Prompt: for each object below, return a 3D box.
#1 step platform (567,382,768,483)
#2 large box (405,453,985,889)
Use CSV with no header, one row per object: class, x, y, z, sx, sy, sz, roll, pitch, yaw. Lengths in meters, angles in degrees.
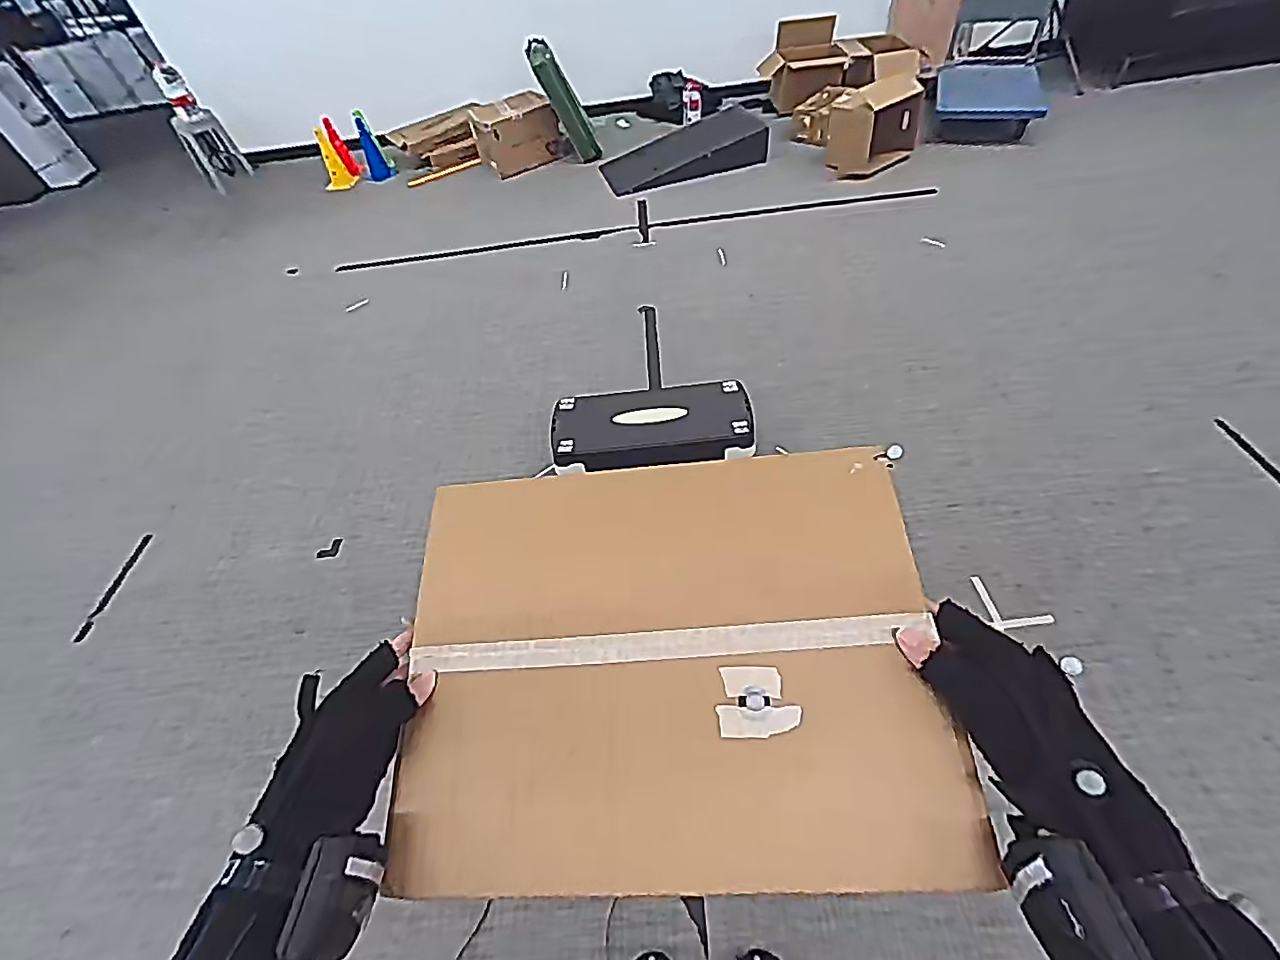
step platform,0.091,-0.151,1.866,0.684,0.204,0.286,-6,50,2
large box,0.038,0.199,0.564,0.408,0.320,0.320,-5,63,5
